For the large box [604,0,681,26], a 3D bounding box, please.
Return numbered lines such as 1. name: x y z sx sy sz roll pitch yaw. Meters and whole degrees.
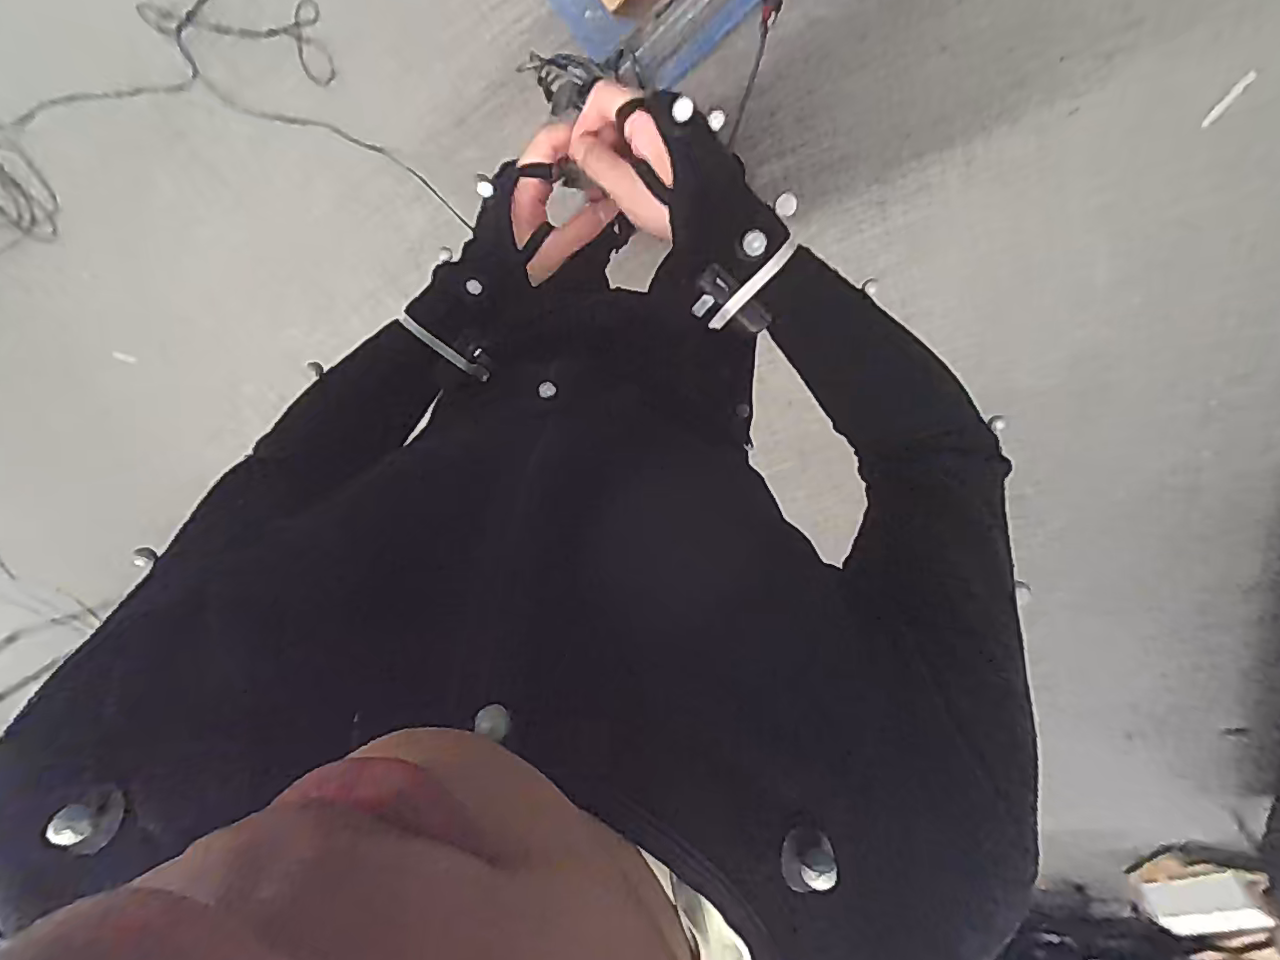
1. large box: -0.004 -0.971 0.766 0.320 0.320 0.408 -26 117 28
